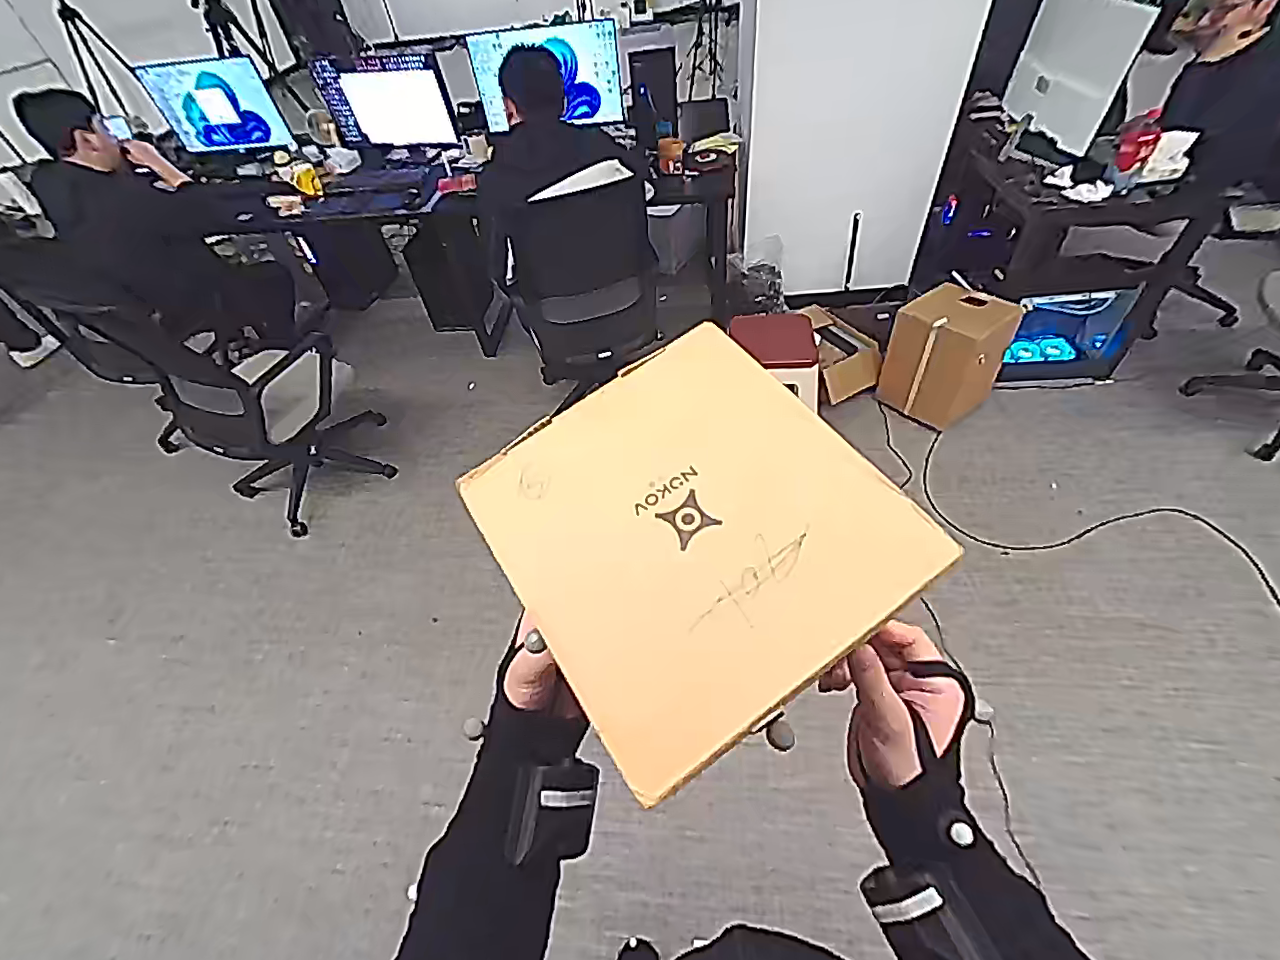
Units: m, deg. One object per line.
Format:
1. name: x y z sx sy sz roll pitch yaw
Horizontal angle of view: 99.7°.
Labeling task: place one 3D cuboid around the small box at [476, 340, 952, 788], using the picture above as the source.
1. small box: 0.034 0.058 0.330 0.168 0.176 0.179 -34 63 -9
